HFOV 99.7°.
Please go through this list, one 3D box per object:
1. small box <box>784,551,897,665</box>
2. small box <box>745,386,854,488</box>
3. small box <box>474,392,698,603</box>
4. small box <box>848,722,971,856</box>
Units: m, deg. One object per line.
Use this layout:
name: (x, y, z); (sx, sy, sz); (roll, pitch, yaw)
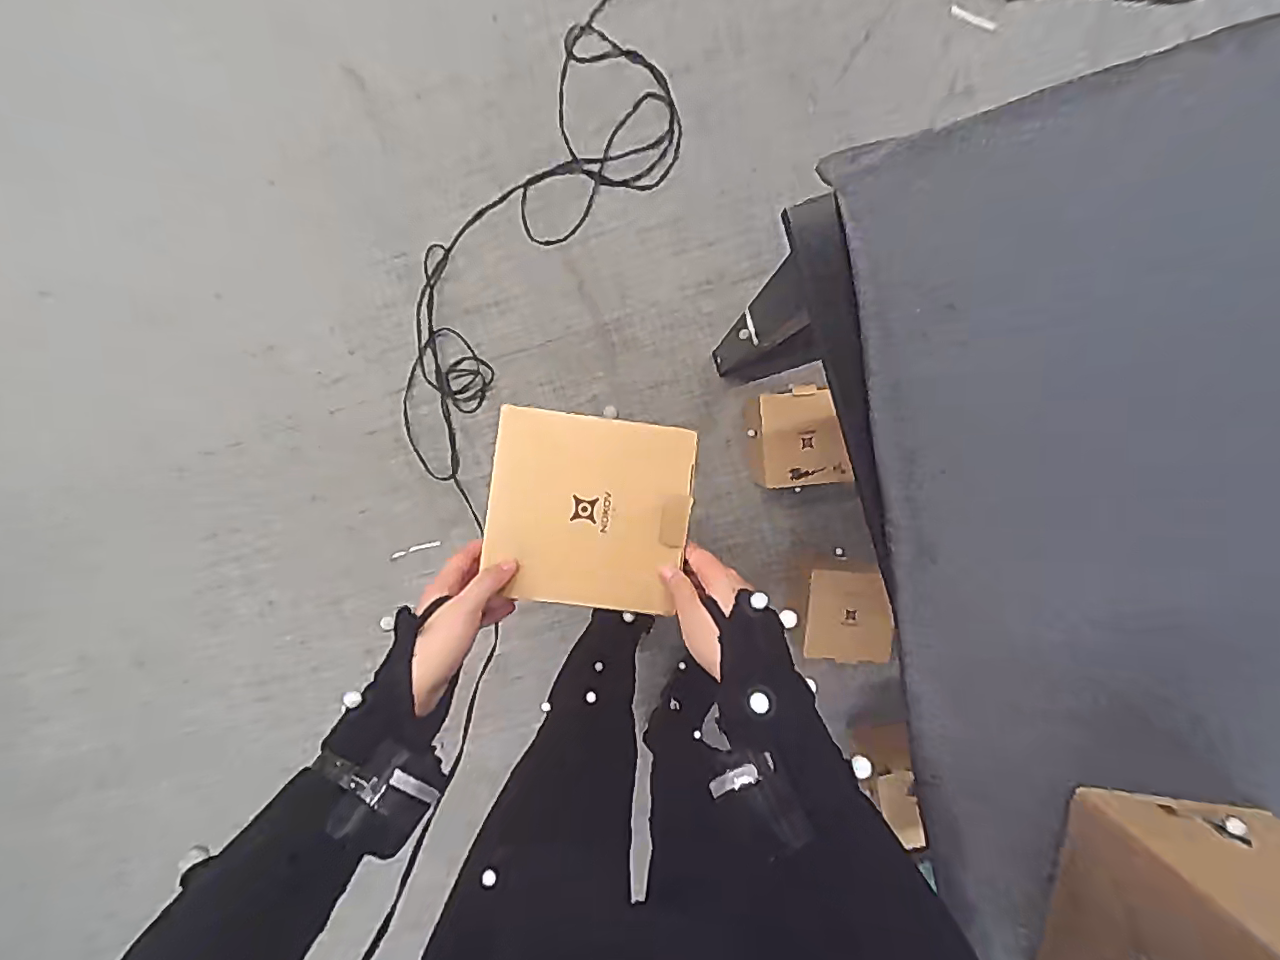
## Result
small box: (0.394, 0.252, 1.091); (0.168, 0.176, 0.179); (3, 94, 1)
small box: (0.305, -0.083, 1.060); (0.168, 0.176, 0.179); (-5, 95, 2)
small box: (-0.052, 0.020, 0.547); (0.179, 0.176, 0.168); (8, 87, -5)
small box: (0.548, 0.626, 1.122); (0.168, 0.176, 0.179); (-11, 96, 3)
